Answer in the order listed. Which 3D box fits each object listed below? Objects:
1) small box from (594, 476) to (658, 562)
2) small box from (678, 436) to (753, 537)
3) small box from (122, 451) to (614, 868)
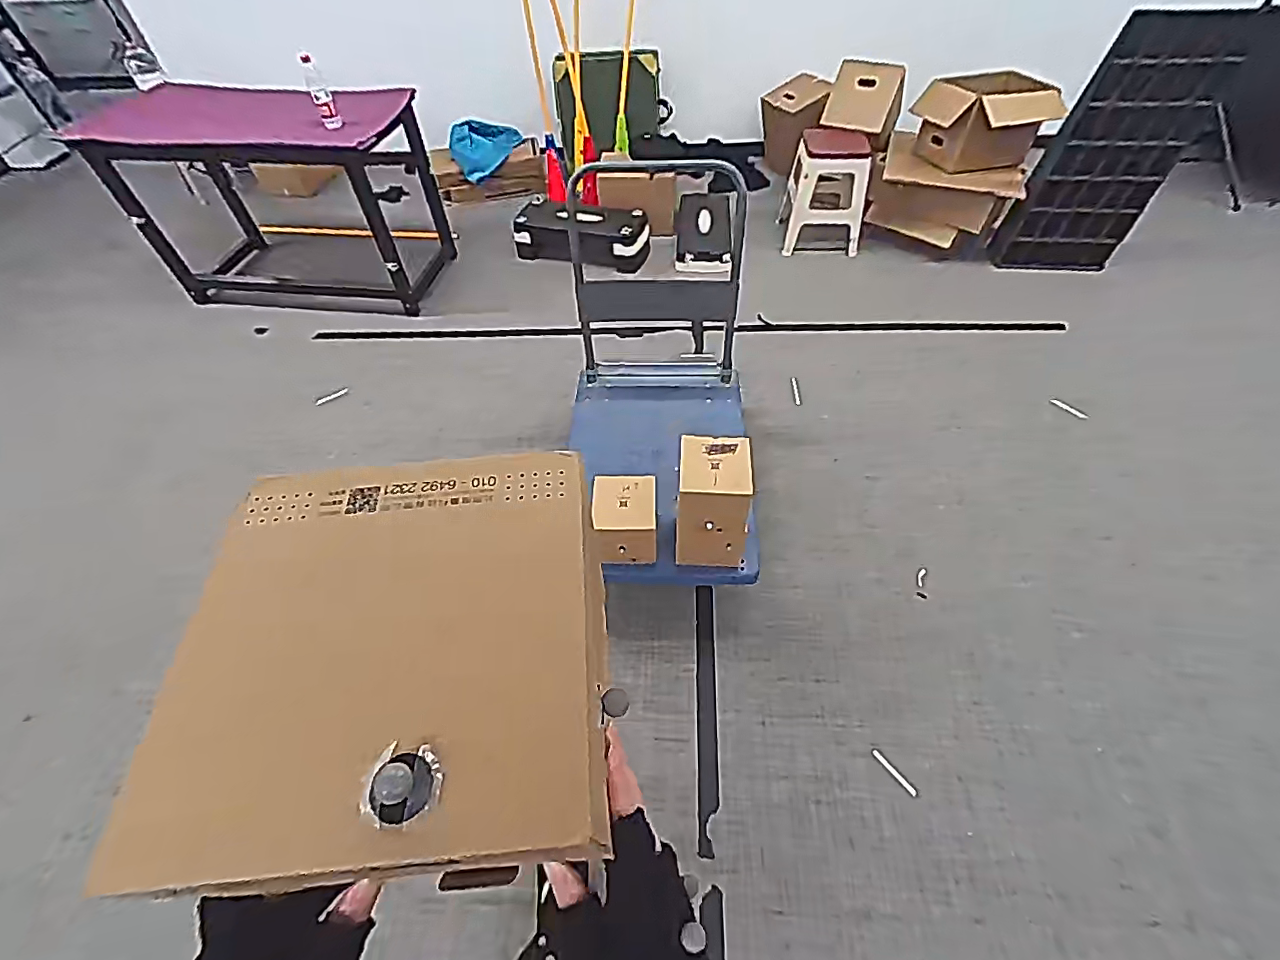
[{"bbox_3d":[-0.037,0.109,1.459,0.168,0.176,0.179,1,50,1],"label":"small box"},{"bbox_3d":[0.179,0.016,1.316,0.168,0.176,0.179,3,52,4],"label":"small box"},{"bbox_3d":[-0.101,0.103,0.300,0.168,0.179,0.176,-4,55,-2],"label":"small box"}]
